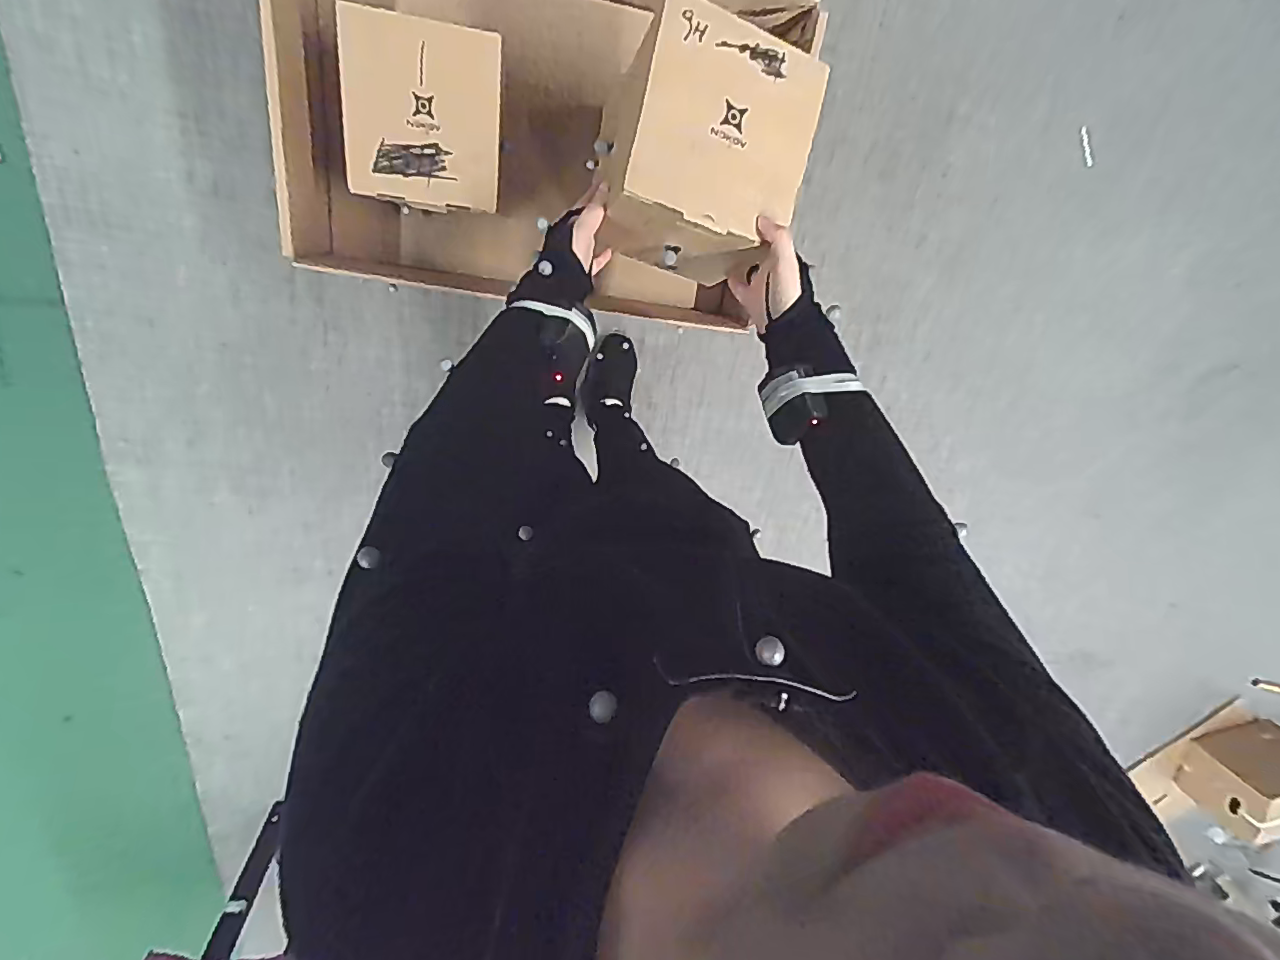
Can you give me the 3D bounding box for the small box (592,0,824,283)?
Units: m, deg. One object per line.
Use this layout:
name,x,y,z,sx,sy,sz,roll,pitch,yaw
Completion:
small box,0.055,-0.325,0.565,0.168,0.176,0.179,13,96,-17
